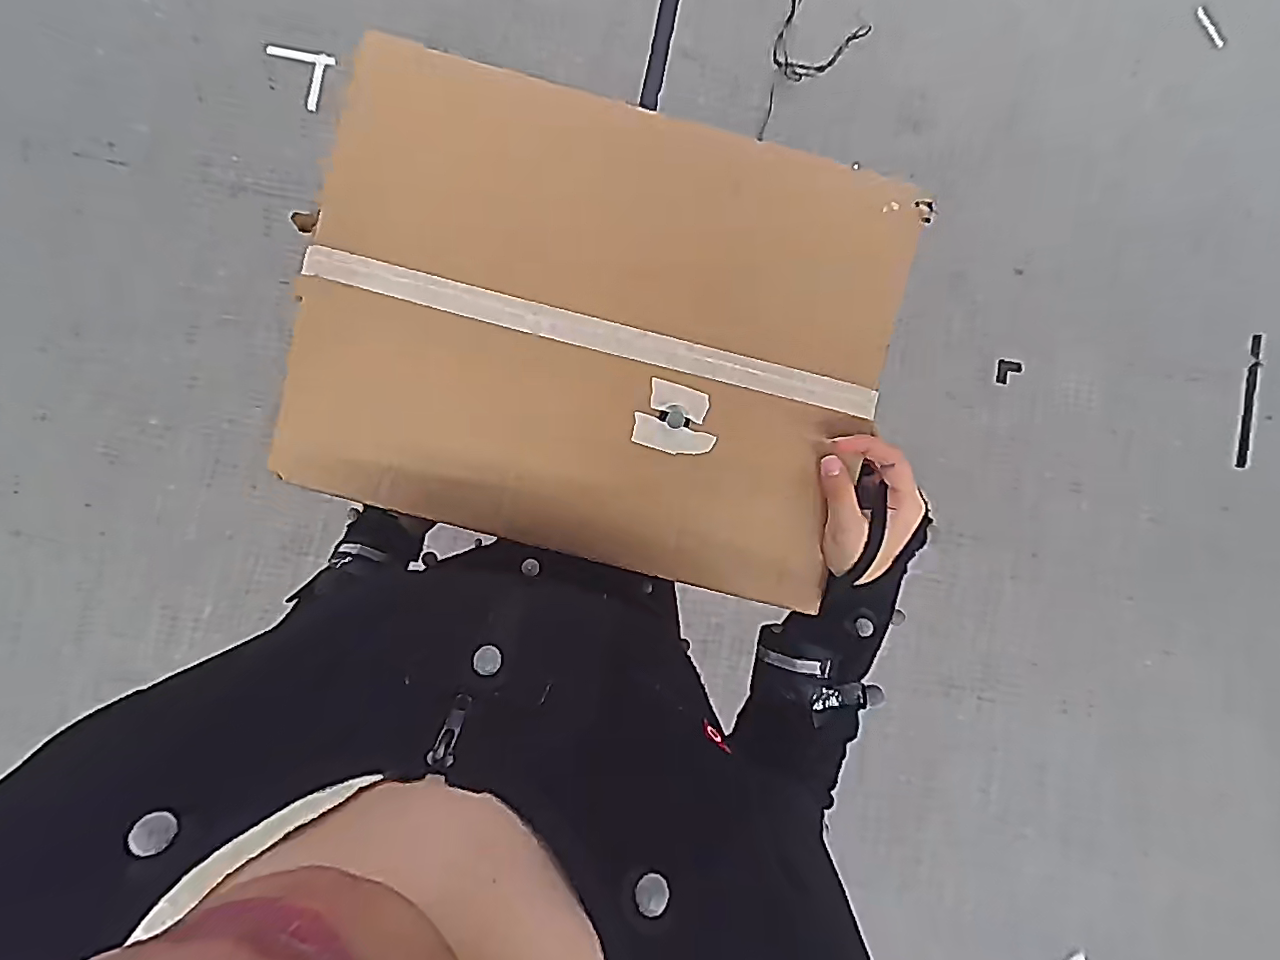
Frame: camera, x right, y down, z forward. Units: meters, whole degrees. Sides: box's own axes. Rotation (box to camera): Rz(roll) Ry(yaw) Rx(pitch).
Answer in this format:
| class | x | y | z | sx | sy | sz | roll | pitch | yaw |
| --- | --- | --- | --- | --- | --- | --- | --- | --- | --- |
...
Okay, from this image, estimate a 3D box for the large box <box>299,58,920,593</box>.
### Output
| class | x | y | z | sx | sy | sz | roll | pitch | yaw |
| --- | --- | --- | --- | --- | --- | --- | --- | --- | --- |
| large box | -0.028 | -0.112 | 0.539 | 0.408 | 0.320 | 0.320 | 14 | 94 | -3 |
